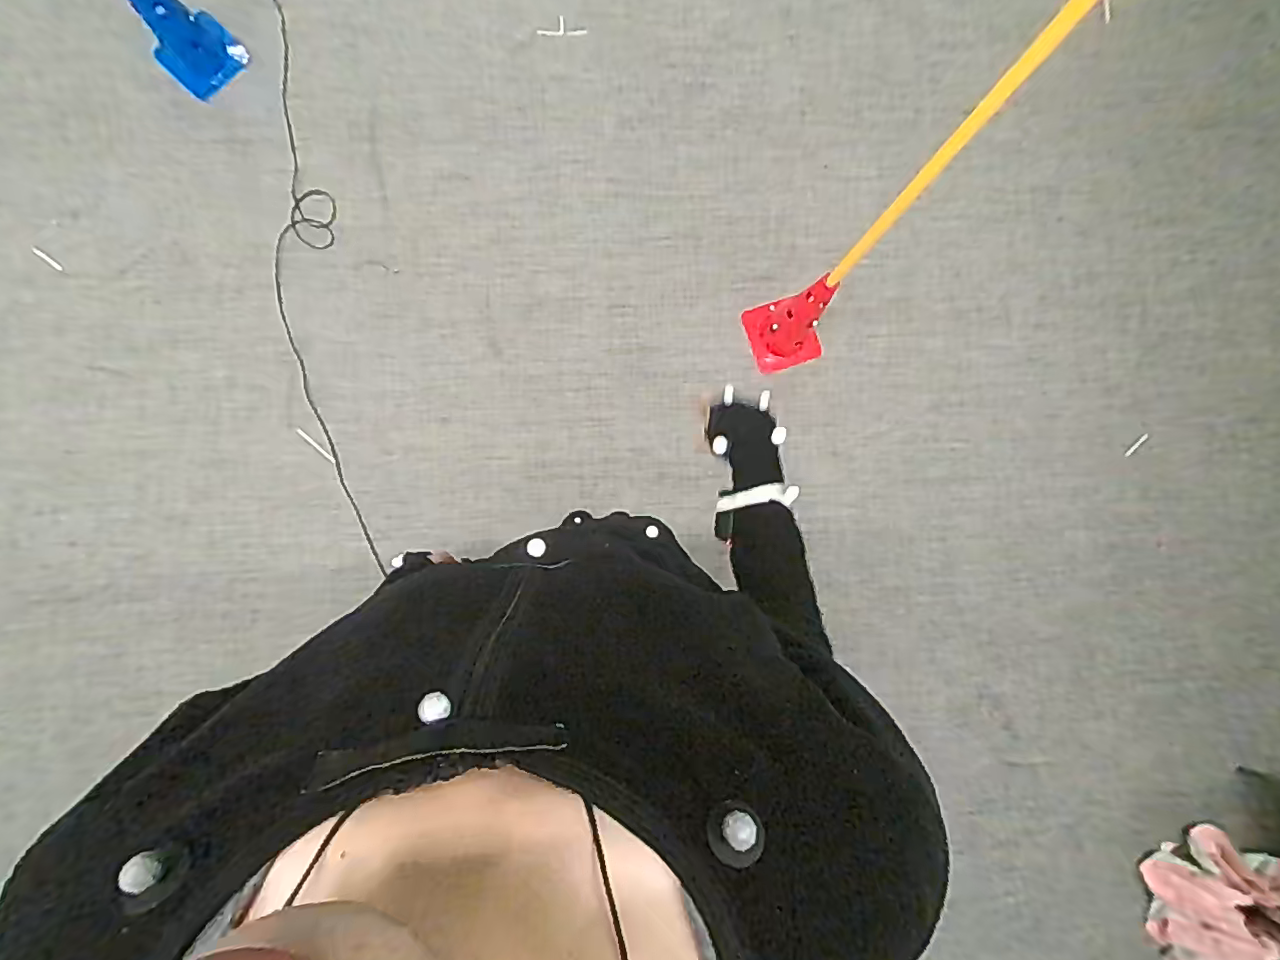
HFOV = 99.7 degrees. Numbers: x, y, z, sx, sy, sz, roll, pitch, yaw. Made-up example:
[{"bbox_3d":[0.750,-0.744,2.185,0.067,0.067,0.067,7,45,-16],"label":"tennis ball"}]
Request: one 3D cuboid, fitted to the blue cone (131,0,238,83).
[{"bbox_3d":[-1.219,-1.213,1.328,0.192,0.380,0.193,43,87,-2],"label":"blue cone"}]
